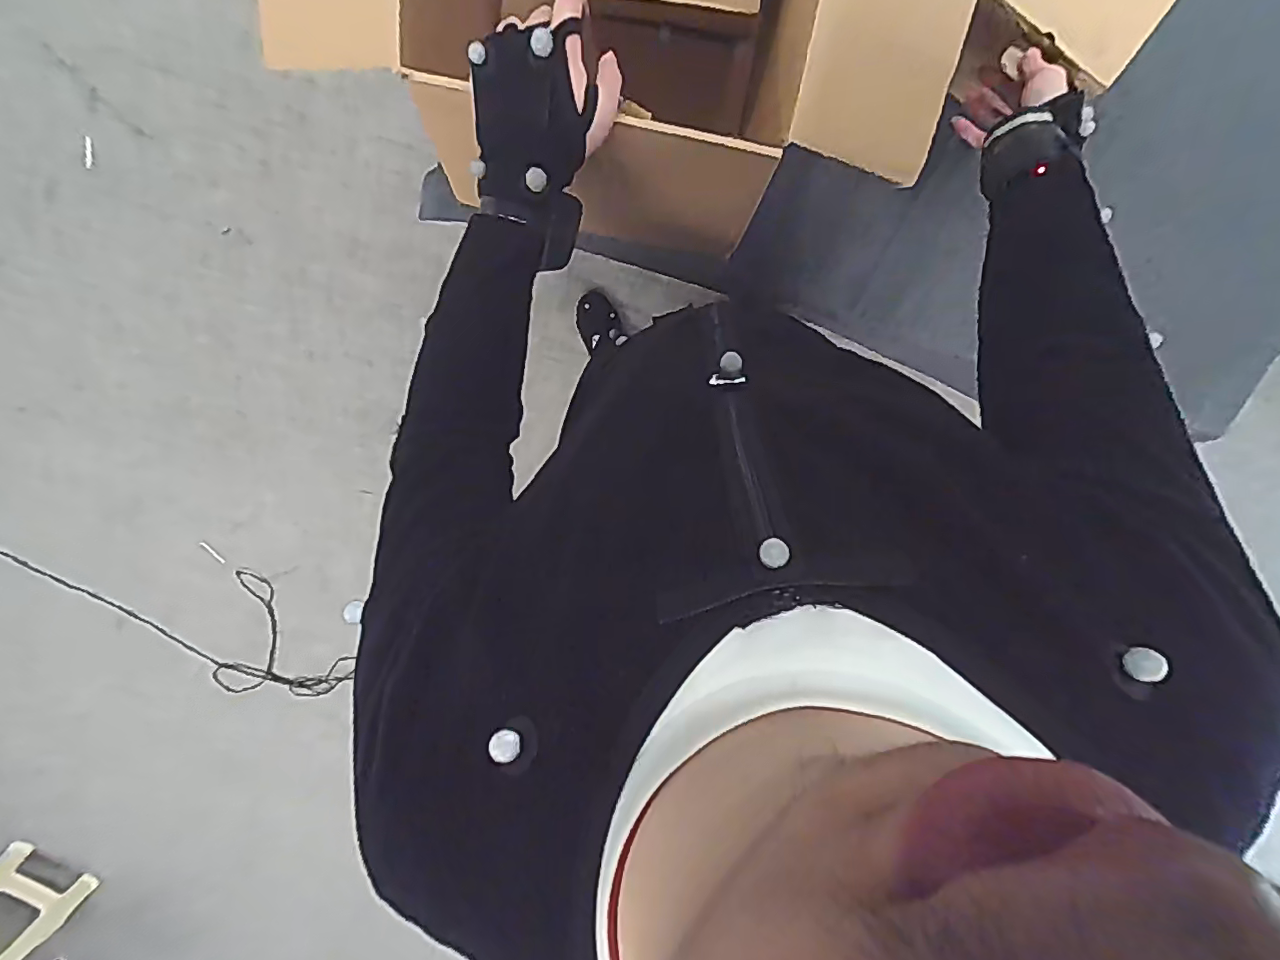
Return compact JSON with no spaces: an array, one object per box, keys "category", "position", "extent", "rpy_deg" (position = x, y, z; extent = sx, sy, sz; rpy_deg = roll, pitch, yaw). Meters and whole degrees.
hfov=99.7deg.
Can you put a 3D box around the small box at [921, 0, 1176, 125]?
[{"category":"small box","position":[0.438,-0.522,0.576],"extent":[0.168,0.176,0.179],"rpy_deg":[28,107,-12]}]
